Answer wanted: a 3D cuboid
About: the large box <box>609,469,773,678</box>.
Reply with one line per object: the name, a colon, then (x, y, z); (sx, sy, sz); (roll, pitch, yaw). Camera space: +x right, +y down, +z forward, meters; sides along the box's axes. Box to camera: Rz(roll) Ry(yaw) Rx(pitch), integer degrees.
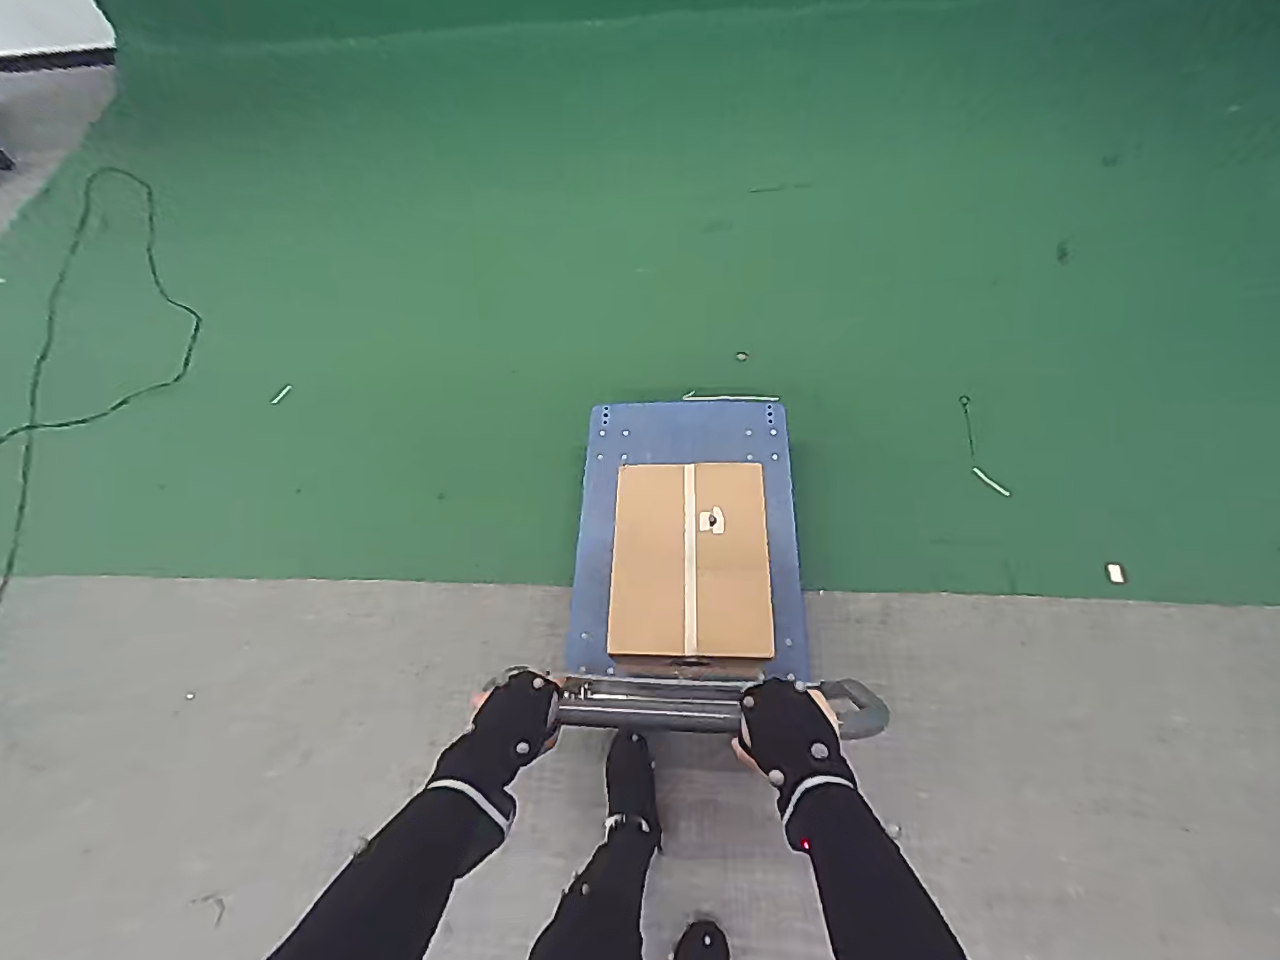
large box: (0.115, 0.224, 1.233); (0.320, 0.320, 0.408); (0, 63, 6)
